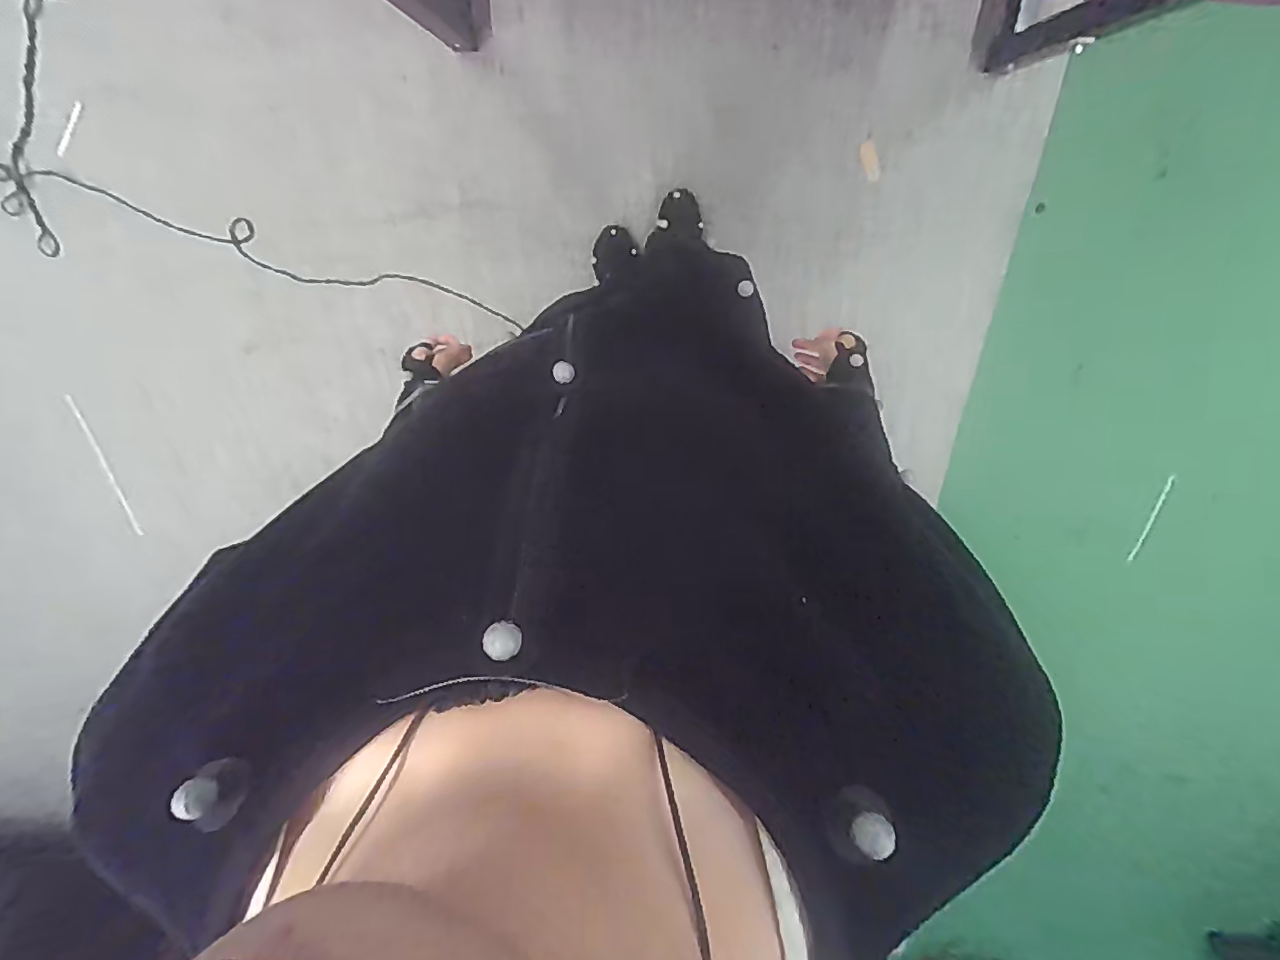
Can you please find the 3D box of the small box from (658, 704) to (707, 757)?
[{"bbox_3d":[0.152,0.945,1.988,0.168,0.176,0.179,-1,118,1],"label":"small box"}]

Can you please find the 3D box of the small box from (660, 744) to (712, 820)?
[{"bbox_3d":[0.152,1.025,1.844,0.168,0.176,0.179,0,118,2],"label":"small box"}]
